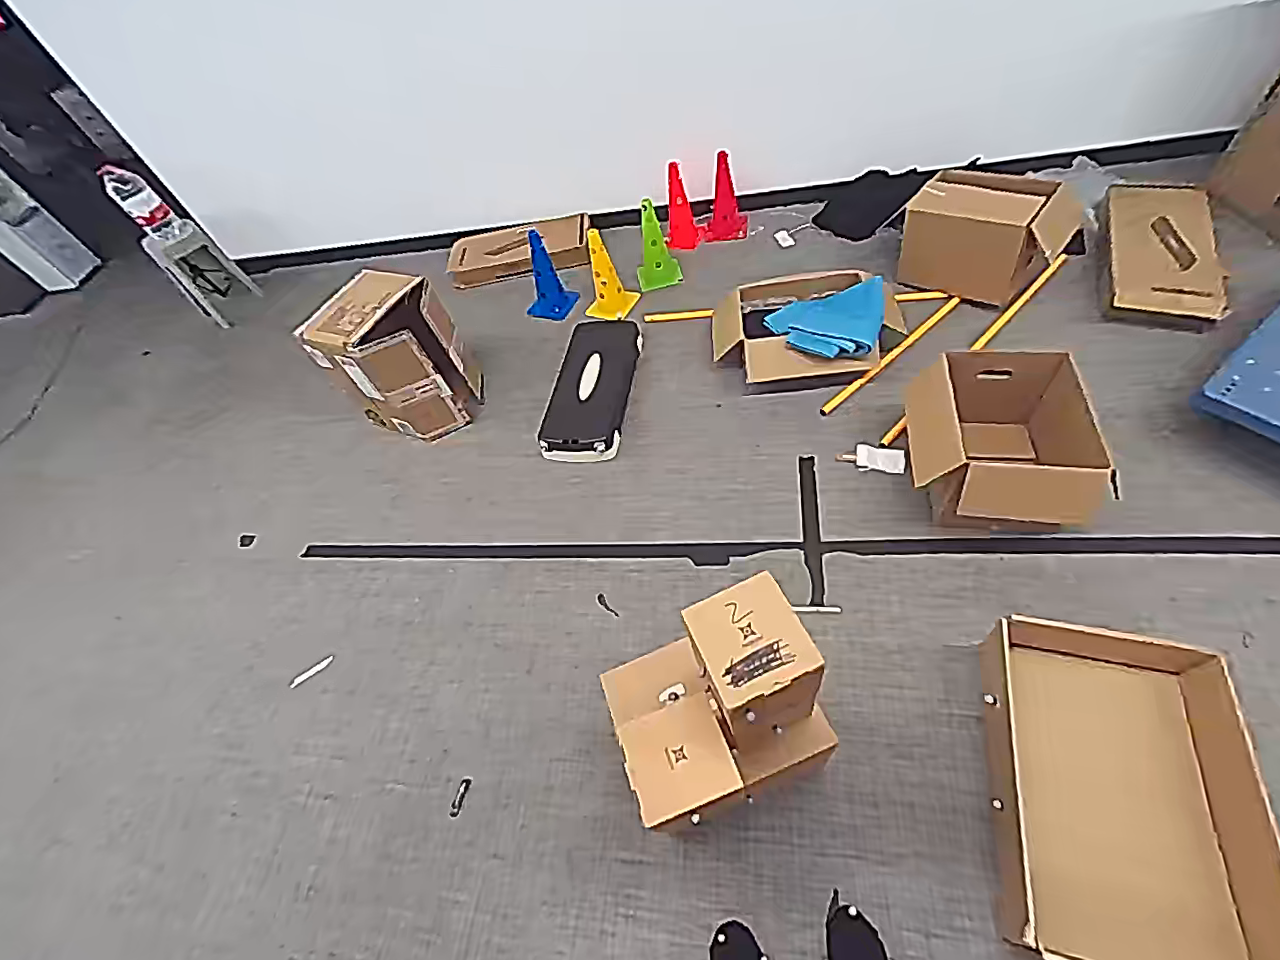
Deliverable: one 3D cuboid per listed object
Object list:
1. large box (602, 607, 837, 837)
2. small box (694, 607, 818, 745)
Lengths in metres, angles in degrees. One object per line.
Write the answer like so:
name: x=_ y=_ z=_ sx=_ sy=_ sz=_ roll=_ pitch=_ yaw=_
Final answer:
large box: x=0.178 y=0.555 z=1.230 sx=0.408 sy=0.320 sz=0.320 roll=-24 pitch=52 yaw=-3
small box: x=0.219 y=0.380 z=1.039 sx=0.168 sy=0.176 sz=0.179 roll=-24 pitch=54 yaw=-4
